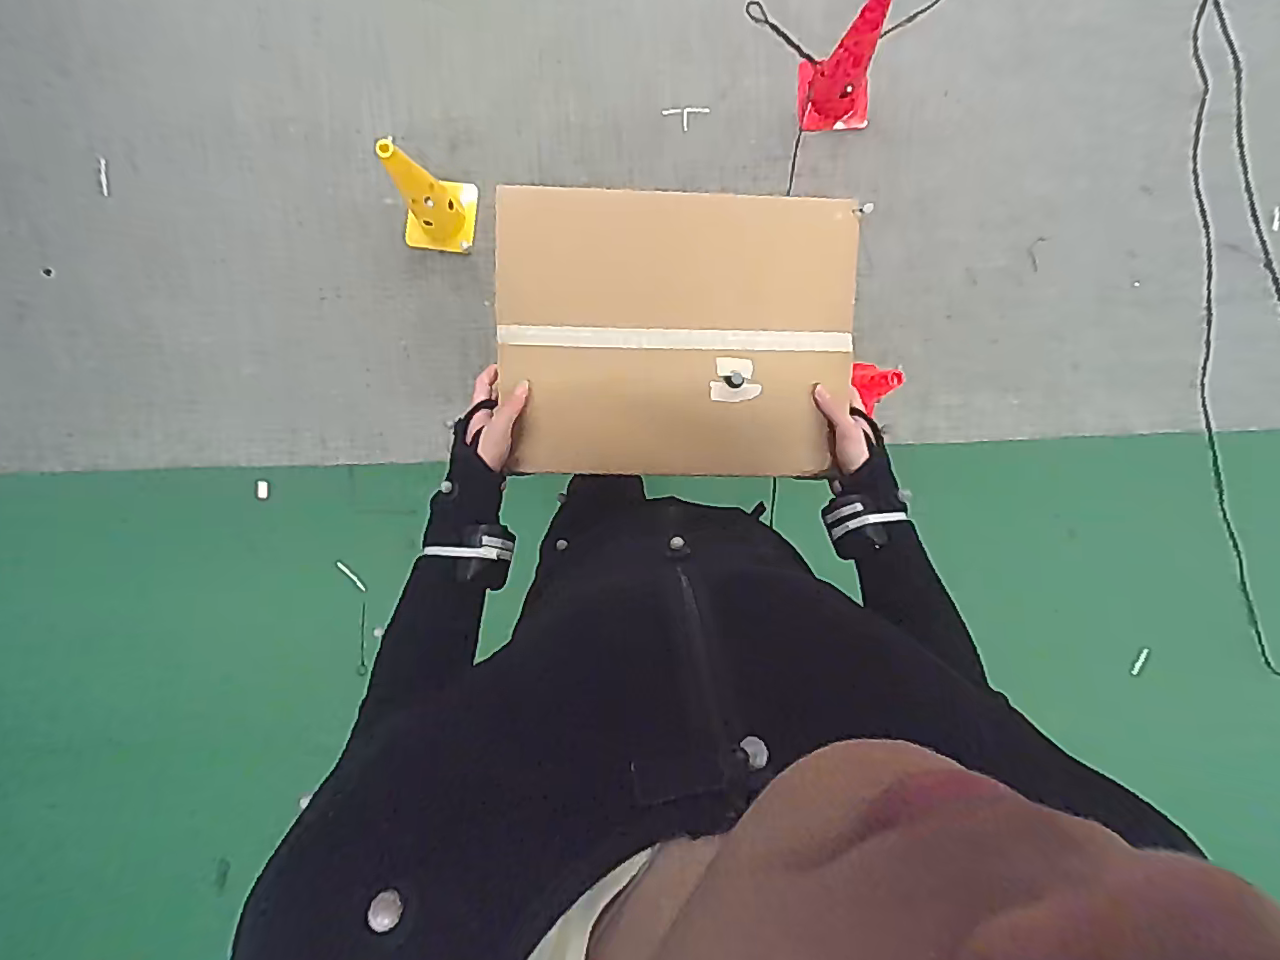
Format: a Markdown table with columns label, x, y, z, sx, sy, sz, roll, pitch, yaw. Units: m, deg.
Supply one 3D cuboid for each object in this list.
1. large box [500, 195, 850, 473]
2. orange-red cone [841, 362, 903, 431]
| label | x | y | z | sx | sy | sz | roll | pitch | yaw |
| --- | --- | --- | --- | --- | --- | --- | --- | --- | --- |
| large box | 0.033 | -0.181 | 0.771 | 0.408 | 0.320 | 0.320 | 0 | 98 | -3 |
| orange-red cone | 0.595 | -0.242 | 1.430 | 0.199 | 0.360 | 0.198 | 5 | 93 | -1 |
